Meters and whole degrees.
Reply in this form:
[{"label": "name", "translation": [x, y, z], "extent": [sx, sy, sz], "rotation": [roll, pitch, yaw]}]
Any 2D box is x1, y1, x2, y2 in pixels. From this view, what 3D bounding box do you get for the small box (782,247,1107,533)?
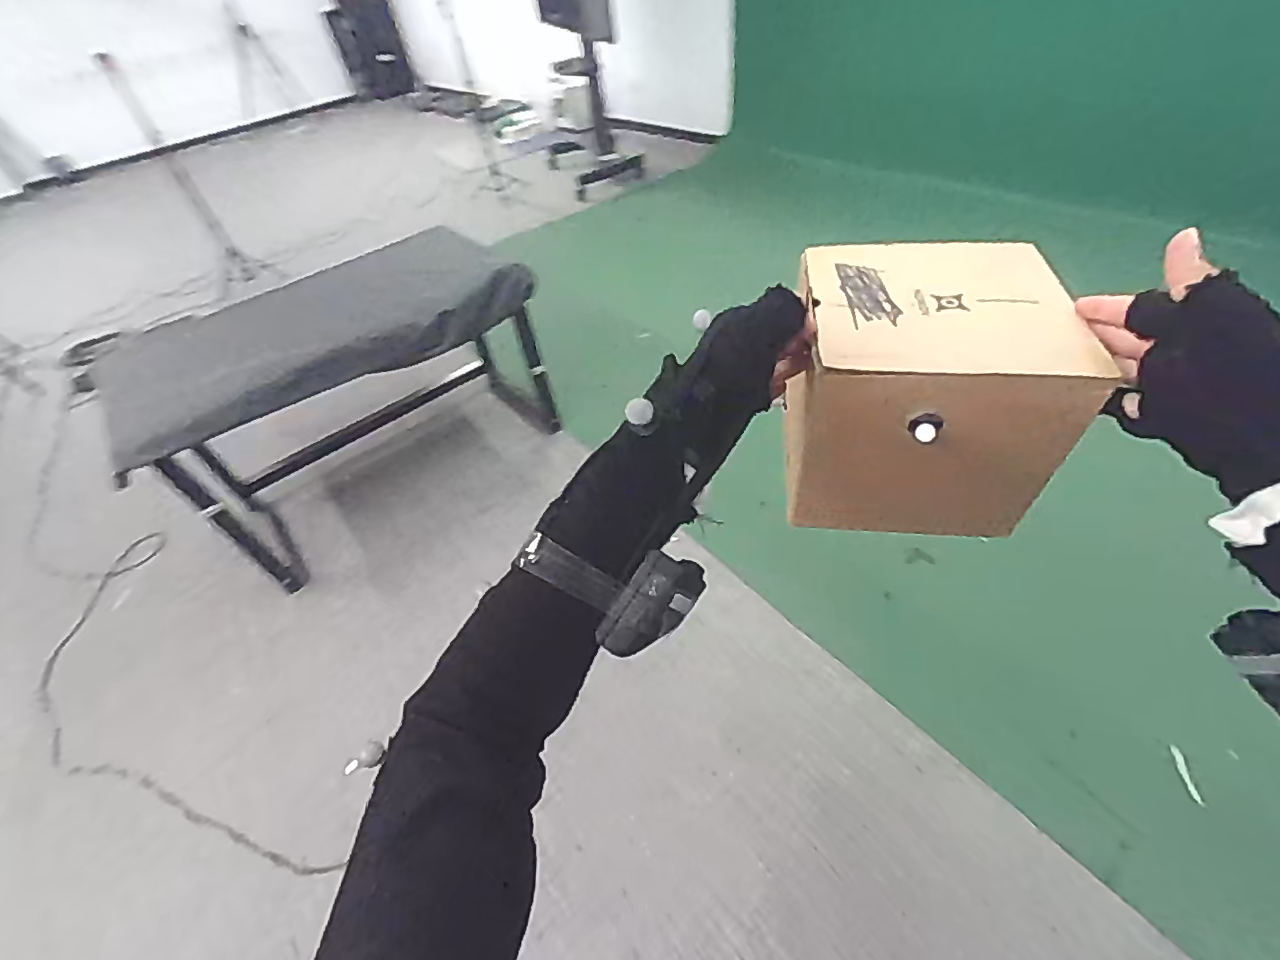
[{"label": "small box", "translation": [0.212, -0.071, 0.446], "extent": [0.179, 0.176, 0.168], "rotation": [2, 50, 8]}]
